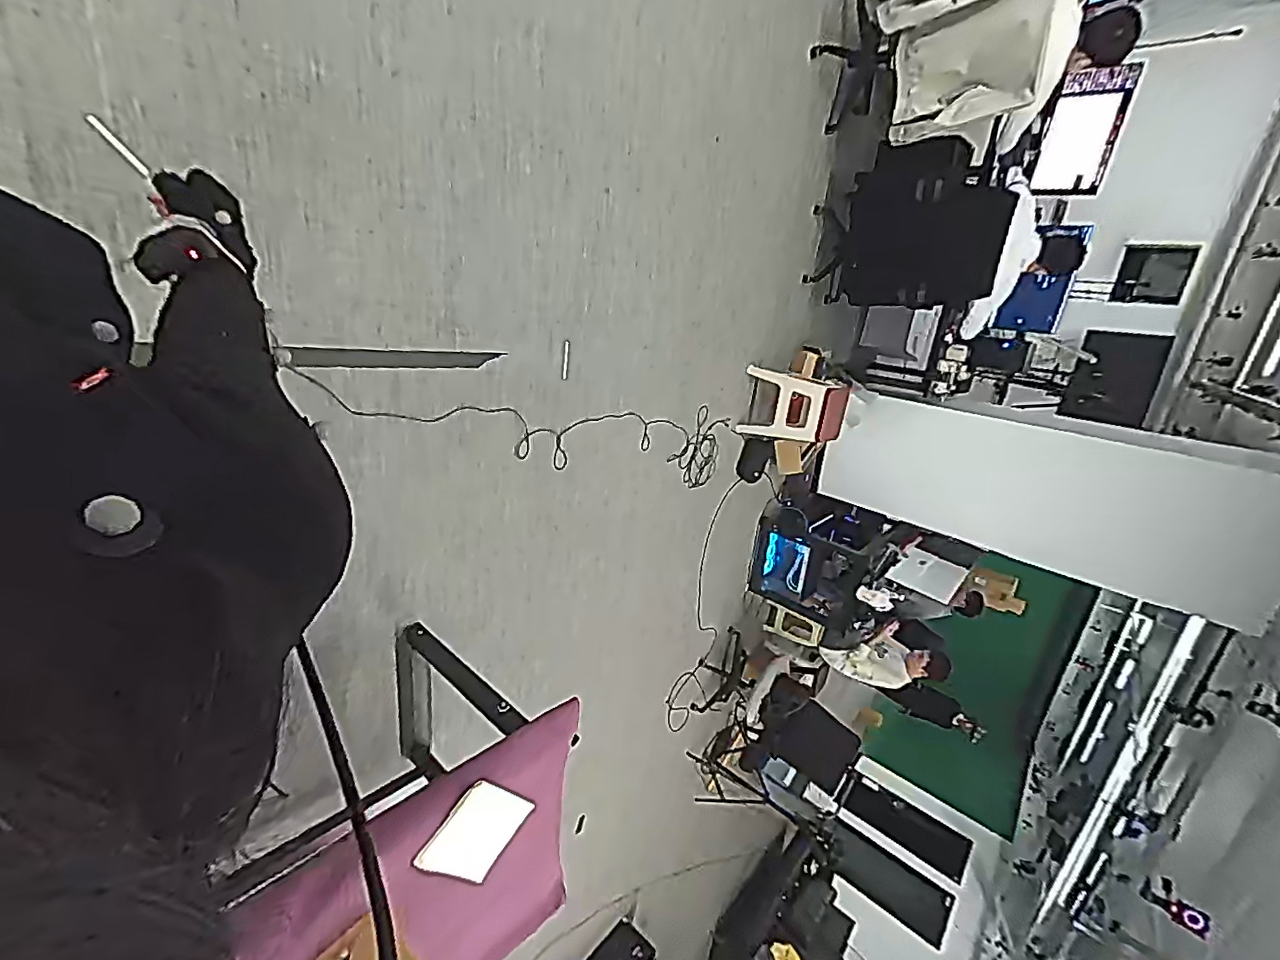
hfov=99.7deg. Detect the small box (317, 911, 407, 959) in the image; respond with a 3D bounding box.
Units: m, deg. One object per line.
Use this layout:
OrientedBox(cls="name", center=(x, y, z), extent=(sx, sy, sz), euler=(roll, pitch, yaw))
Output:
OrientedBox(cls="small box", center=(-0.520, 0.969, 0.999), extent=(0.179, 0.176, 0.168), euler=(-27, 127, -41))
